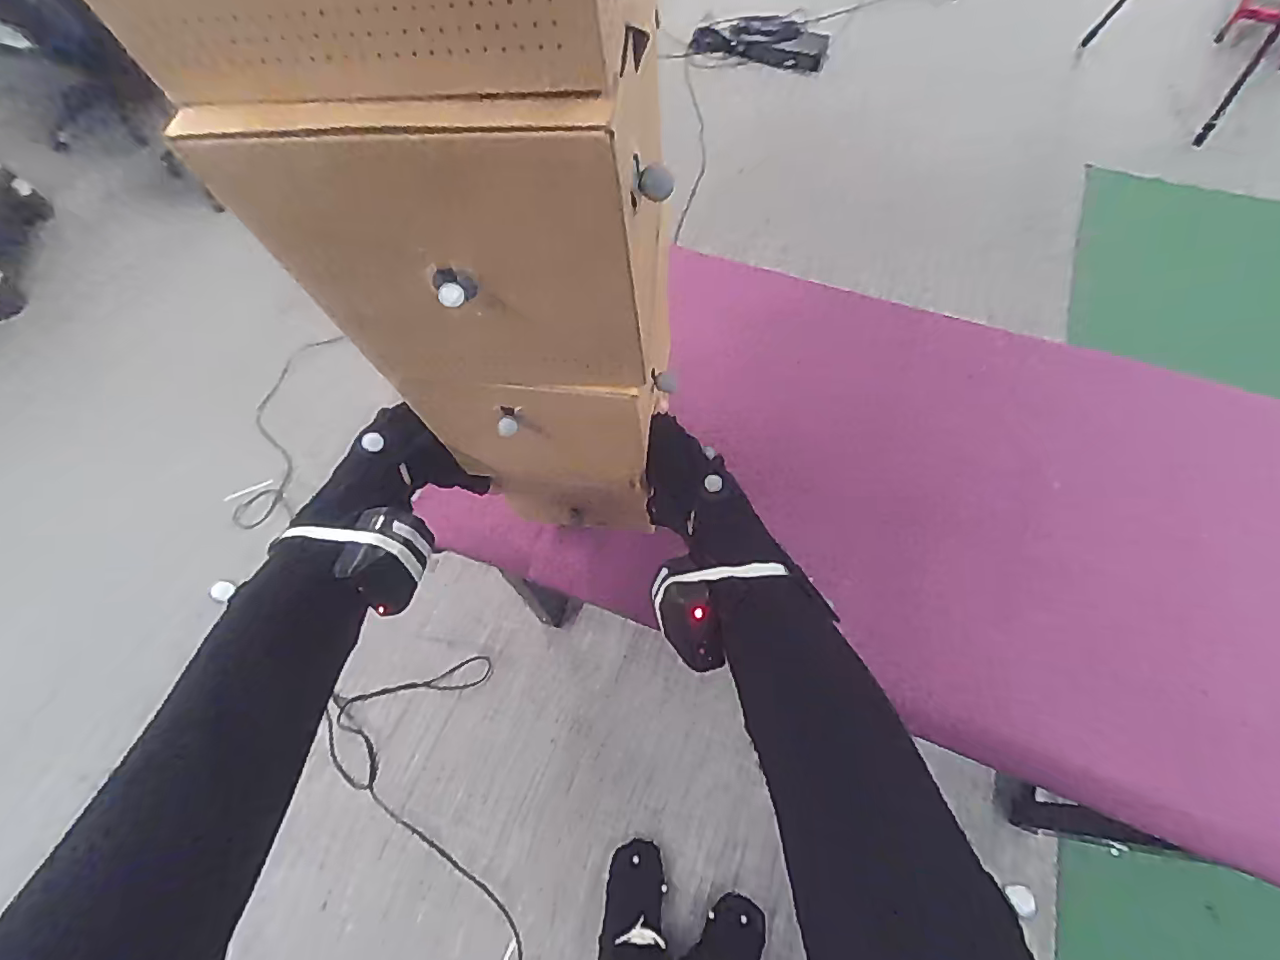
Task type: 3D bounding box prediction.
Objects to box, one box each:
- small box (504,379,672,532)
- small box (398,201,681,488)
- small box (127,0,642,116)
[{"bbox_3d":[-0.055,-0.055,0.617,0.168,0.176,0.179,7,68,6],"label":"small box"},{"bbox_3d":[-0.063,-0.102,0.461,0.179,0.176,0.168,7,68,7],"label":"small box"},{"bbox_3d":[-0.083,-0.242,0.163,0.179,0.176,0.168,5,68,8],"label":"small box"}]
